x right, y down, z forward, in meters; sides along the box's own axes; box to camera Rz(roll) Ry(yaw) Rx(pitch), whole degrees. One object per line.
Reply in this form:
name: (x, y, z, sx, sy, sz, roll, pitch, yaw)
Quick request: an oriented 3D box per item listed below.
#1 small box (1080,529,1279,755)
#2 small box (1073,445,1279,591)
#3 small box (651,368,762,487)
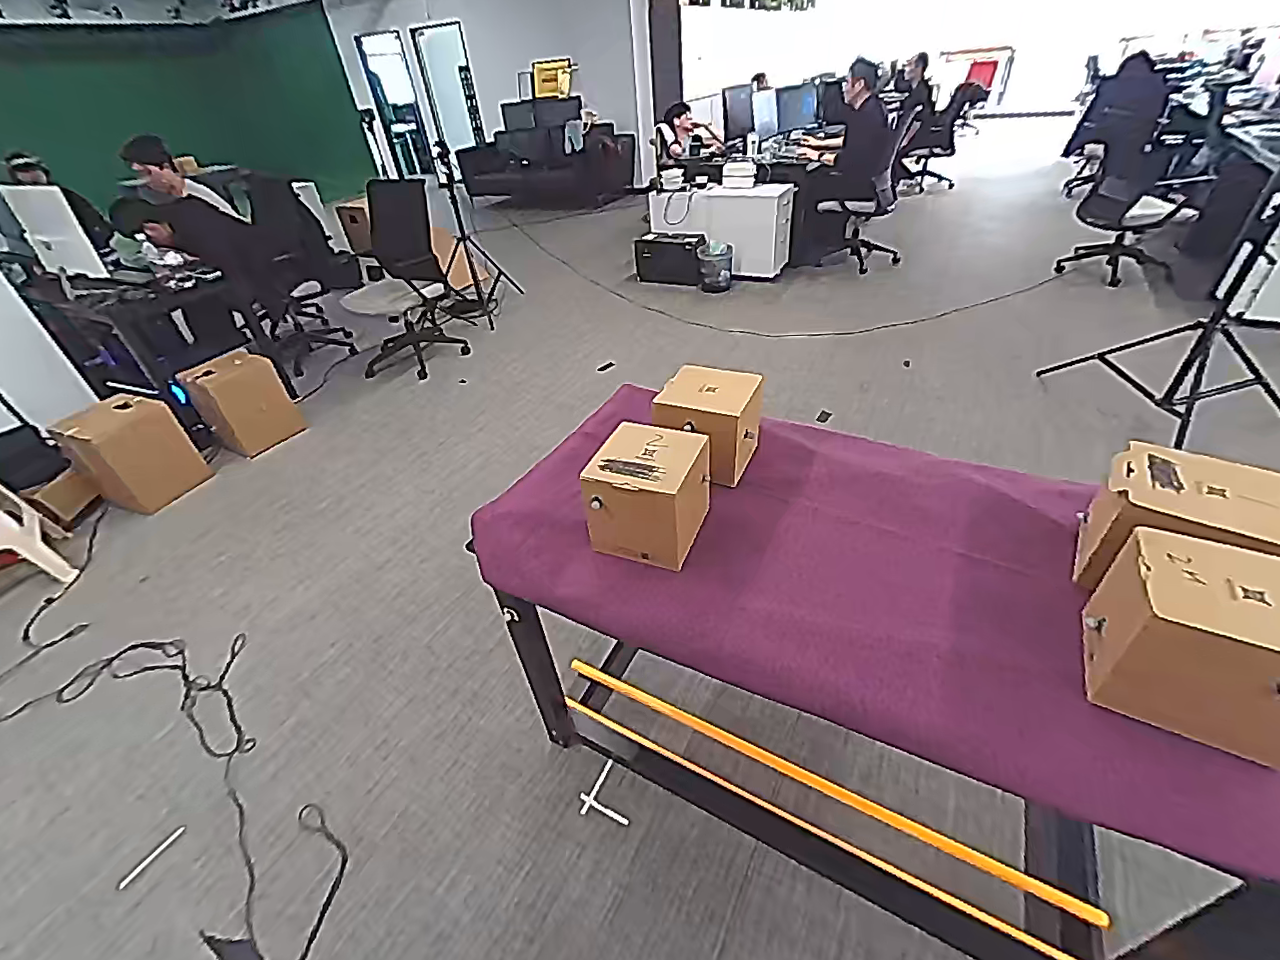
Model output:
small box: (0.666, 0.192, 0.646, 0.179, 0.176, 0.168, 16, 41, 27)
small box: (0.763, 0.079, 0.780, 0.179, 0.176, 0.168, 21, 46, 29)
small box: (0.139, -0.107, 1.106, 0.179, 0.176, 0.168, 13, 41, 22)
